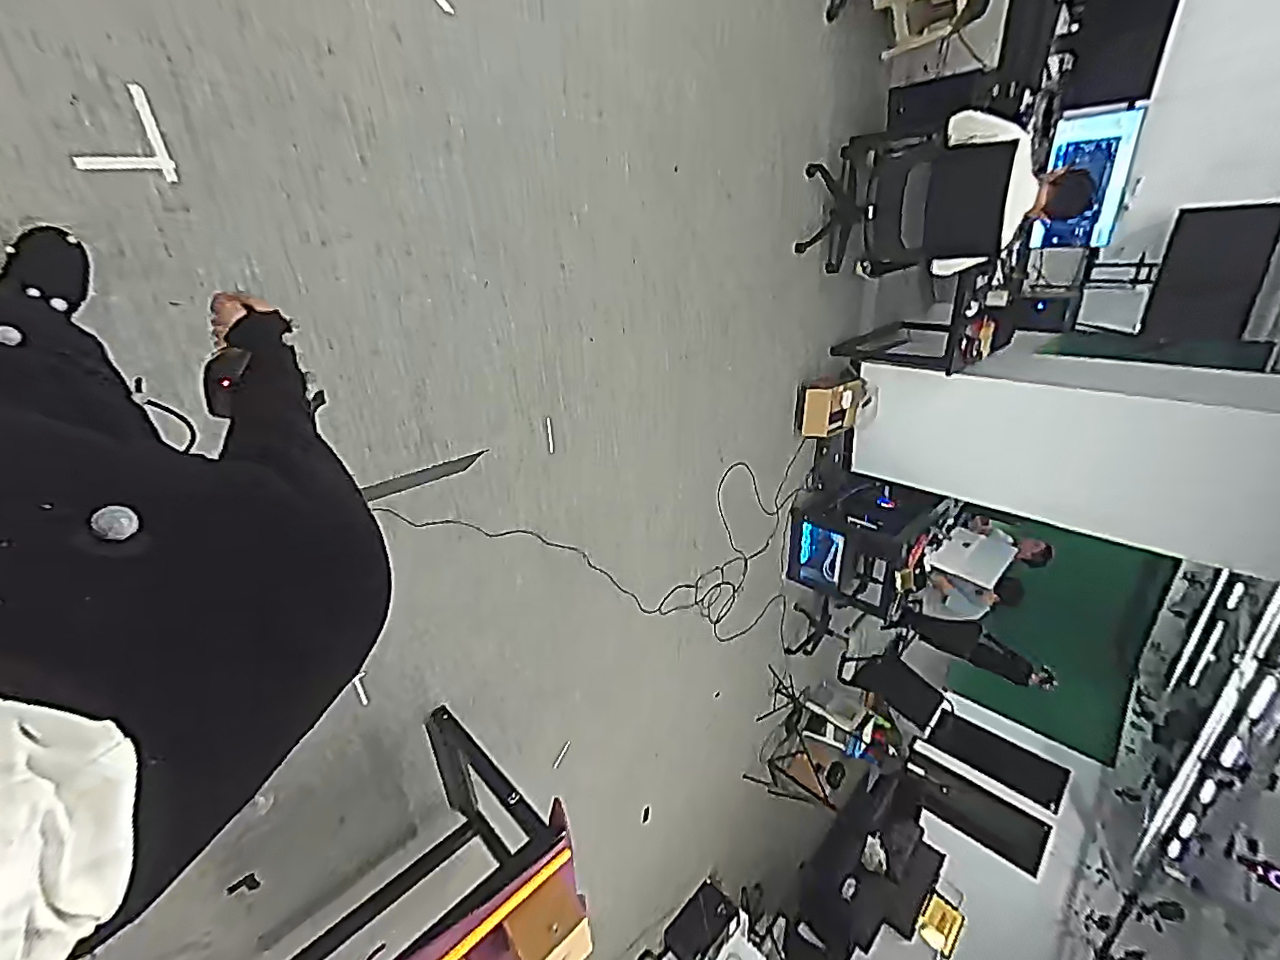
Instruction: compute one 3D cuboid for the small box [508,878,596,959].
[{"bbox_3d":[-0.244,1.256,1.475,0.179,0.176,0.168,-25,122,-38],"label":"small box"}]
